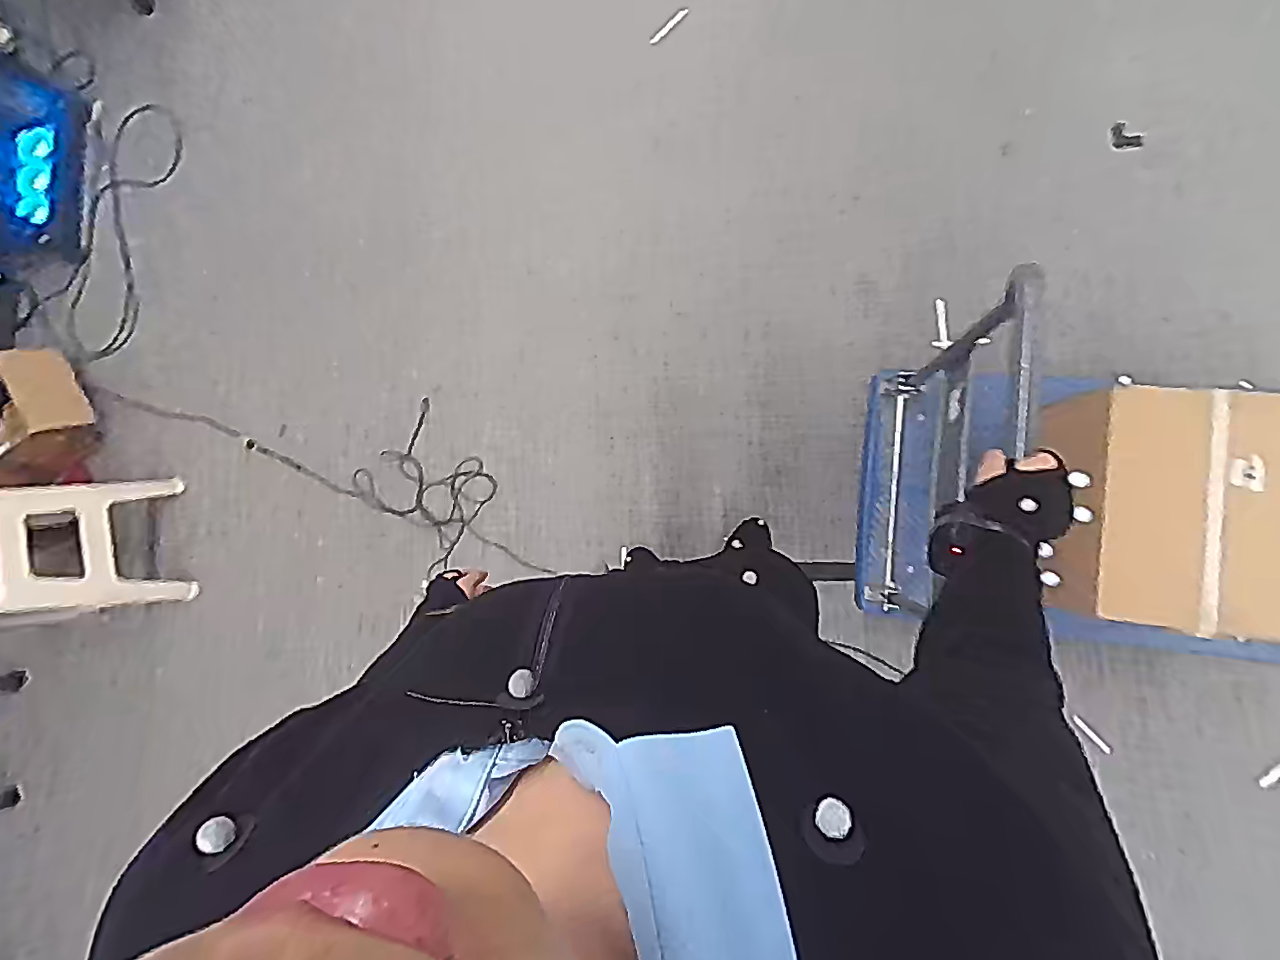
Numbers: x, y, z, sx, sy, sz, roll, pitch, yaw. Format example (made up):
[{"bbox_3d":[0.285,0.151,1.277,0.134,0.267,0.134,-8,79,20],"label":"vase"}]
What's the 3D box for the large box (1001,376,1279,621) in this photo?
[{"bbox_3d":[0.957,0.039,1.065,0.320,0.320,0.408,5,86,8],"label":"large box"}]
